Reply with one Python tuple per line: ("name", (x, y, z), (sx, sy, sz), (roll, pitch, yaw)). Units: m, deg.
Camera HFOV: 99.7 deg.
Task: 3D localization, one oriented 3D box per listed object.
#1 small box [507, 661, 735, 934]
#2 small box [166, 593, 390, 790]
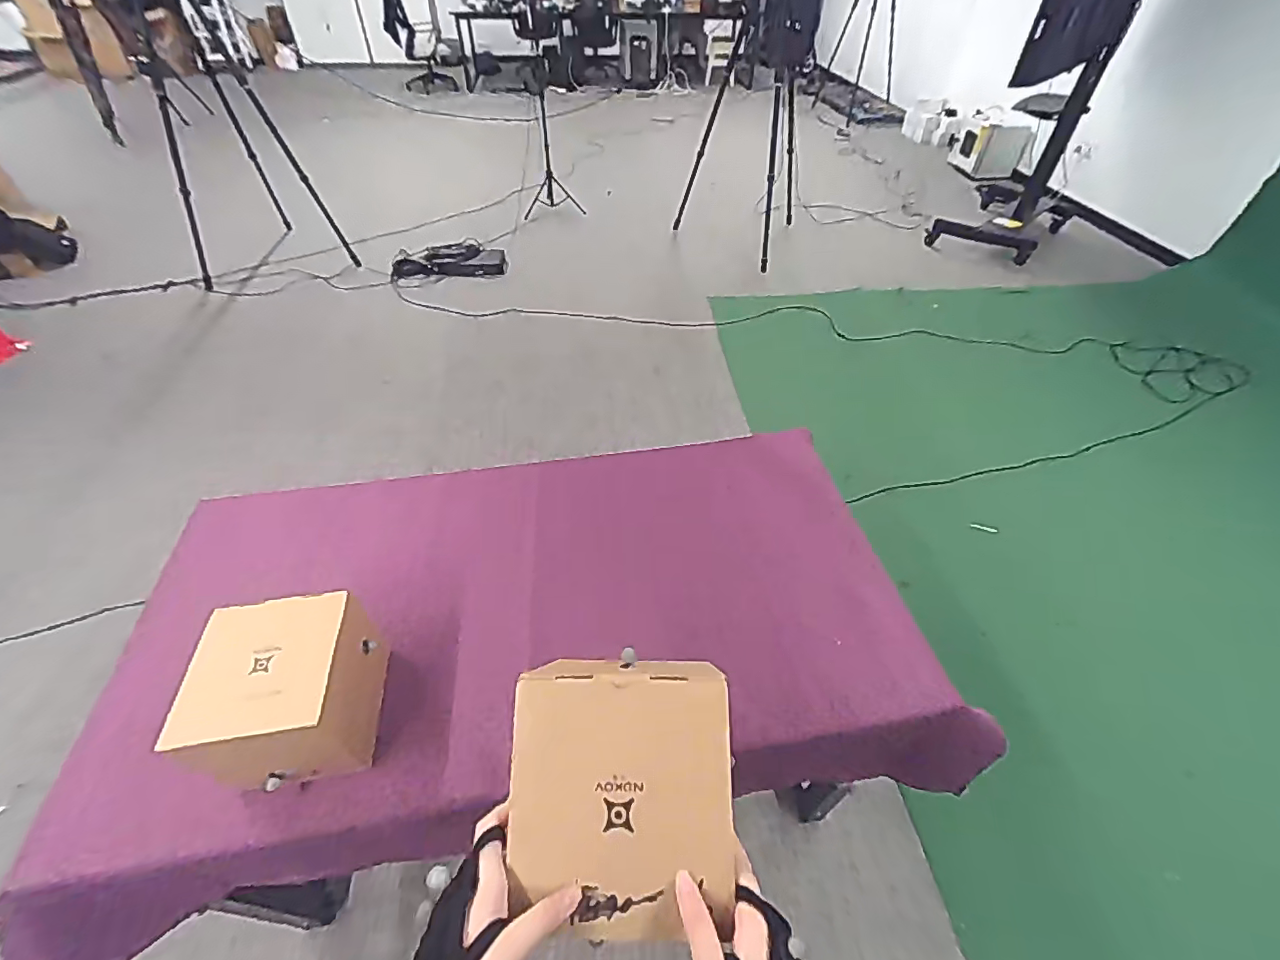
("small box", (-0.009, 0.256, 0.482), (0.168, 0.176, 0.179), (0, 74, 3))
("small box", (-0.441, 0.273, 0.700), (0.168, 0.176, 0.179), (-7, 47, -6))
